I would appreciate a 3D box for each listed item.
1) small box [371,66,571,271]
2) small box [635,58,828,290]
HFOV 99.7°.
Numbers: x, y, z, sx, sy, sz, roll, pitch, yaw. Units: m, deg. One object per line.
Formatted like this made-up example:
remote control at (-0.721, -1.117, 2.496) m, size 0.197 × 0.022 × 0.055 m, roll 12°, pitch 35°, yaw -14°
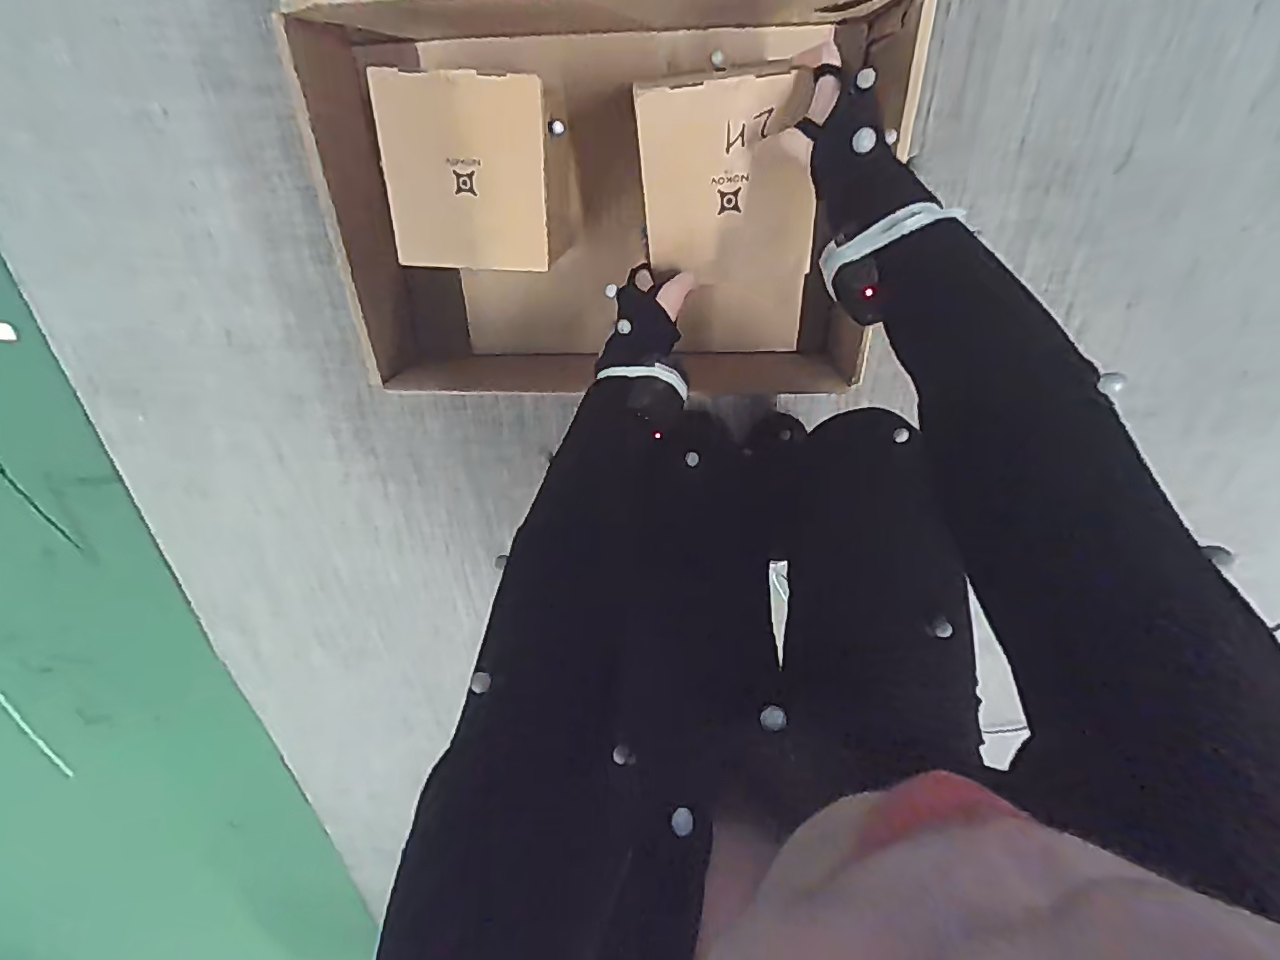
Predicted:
small box at (-0.172, -0.349, 0.617) m, size 0.168 × 0.176 × 0.179 m, roll 4°, pitch 120°, yaw 1°
small box at (0.083, -0.325, 0.573) m, size 0.168 × 0.176 × 0.179 m, roll -5°, pitch 131°, yaw 2°
